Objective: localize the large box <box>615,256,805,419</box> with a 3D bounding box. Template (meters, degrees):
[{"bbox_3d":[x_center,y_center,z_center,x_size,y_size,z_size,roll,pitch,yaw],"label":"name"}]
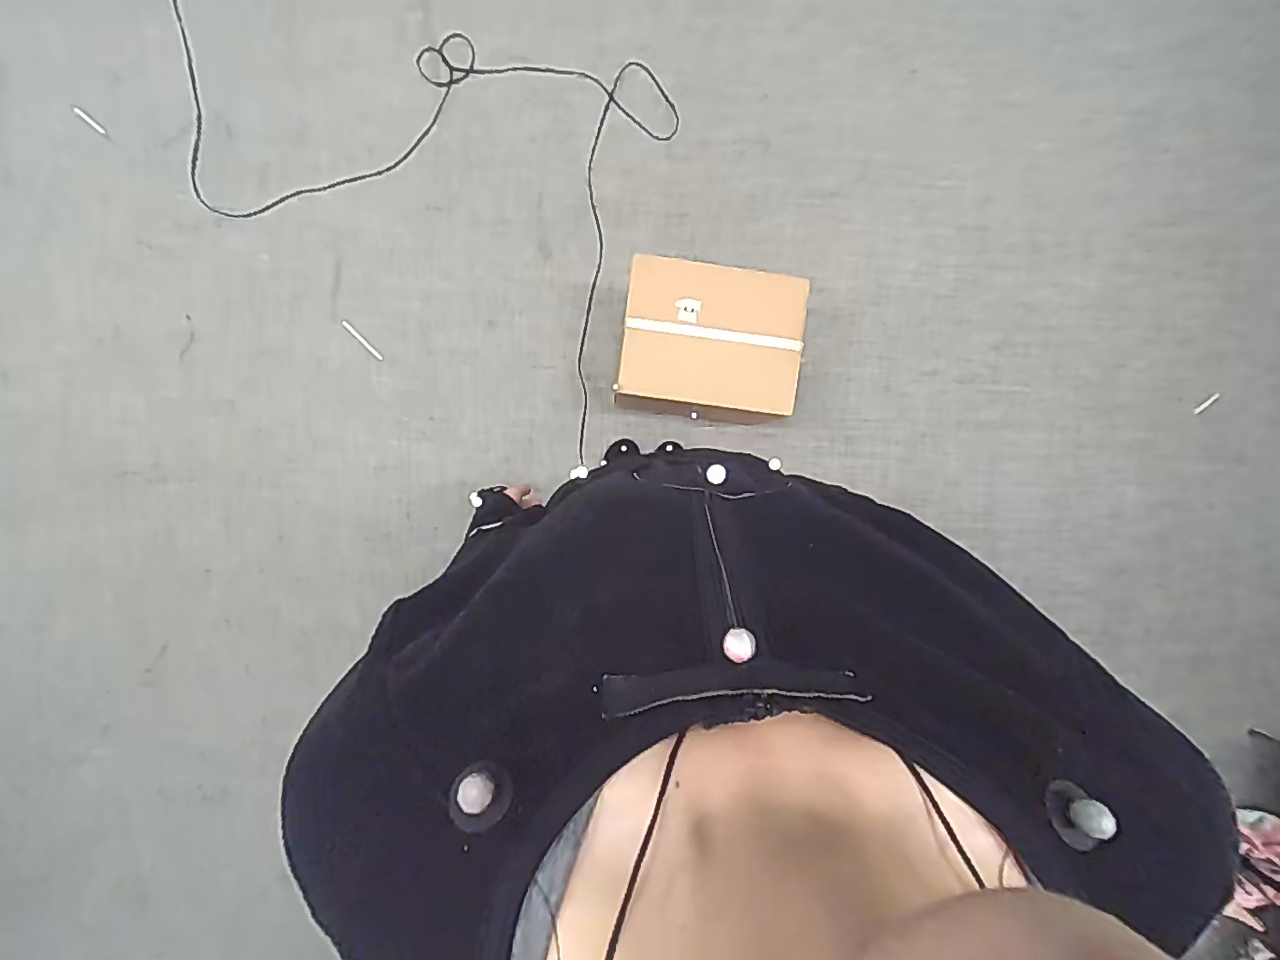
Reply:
[{"bbox_3d":[0.156,-0.335,1.364,0.408,0.320,0.320,8,92,-2],"label":"large box"}]
